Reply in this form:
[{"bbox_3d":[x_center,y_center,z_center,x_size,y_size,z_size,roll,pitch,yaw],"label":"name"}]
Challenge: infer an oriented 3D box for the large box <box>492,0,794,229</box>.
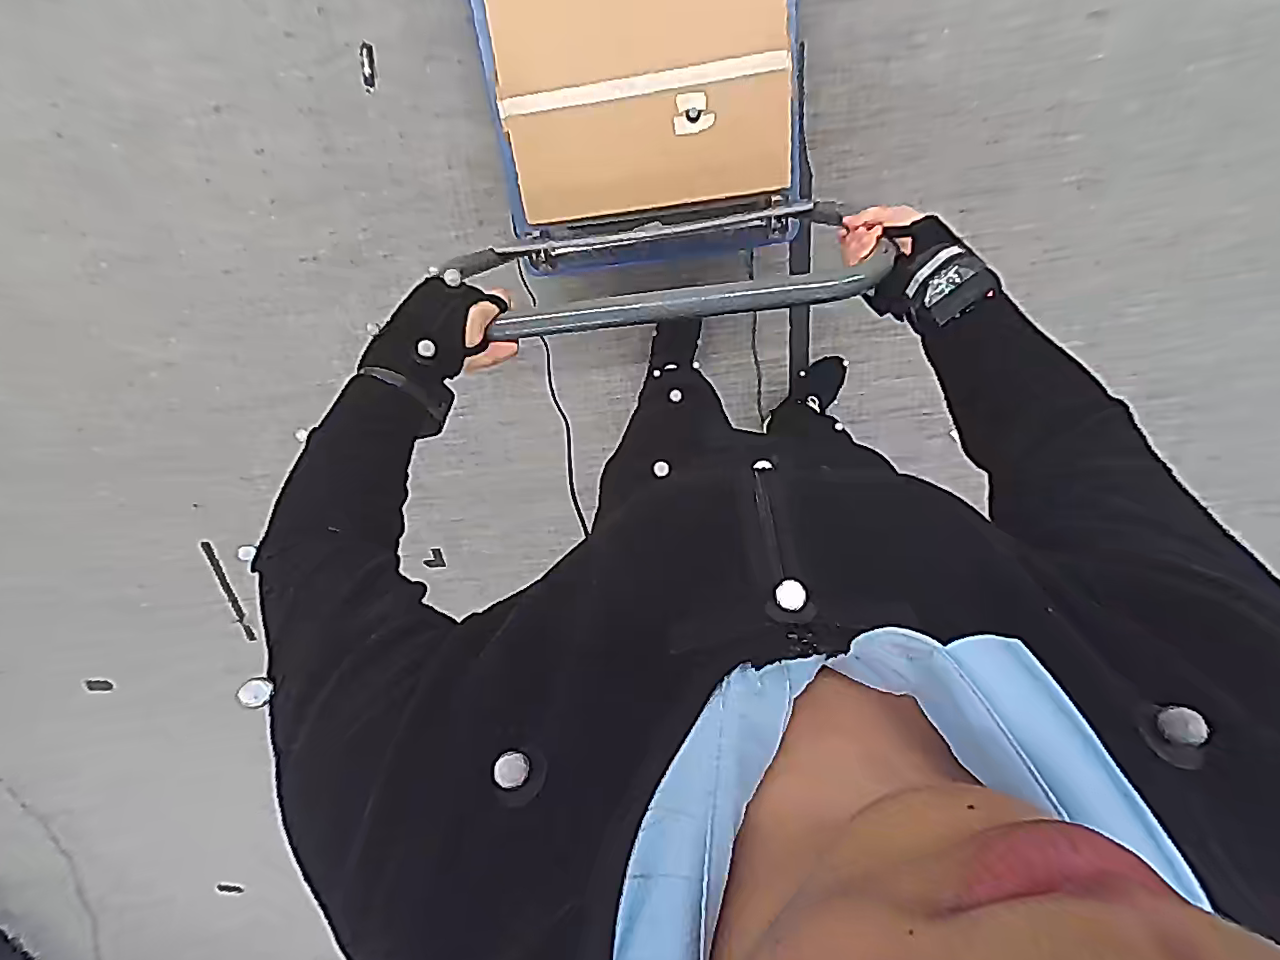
[{"bbox_3d":[0.017,-0.619,0.901,0.408,0.320,0.320,-6,114,5],"label":"large box"}]
